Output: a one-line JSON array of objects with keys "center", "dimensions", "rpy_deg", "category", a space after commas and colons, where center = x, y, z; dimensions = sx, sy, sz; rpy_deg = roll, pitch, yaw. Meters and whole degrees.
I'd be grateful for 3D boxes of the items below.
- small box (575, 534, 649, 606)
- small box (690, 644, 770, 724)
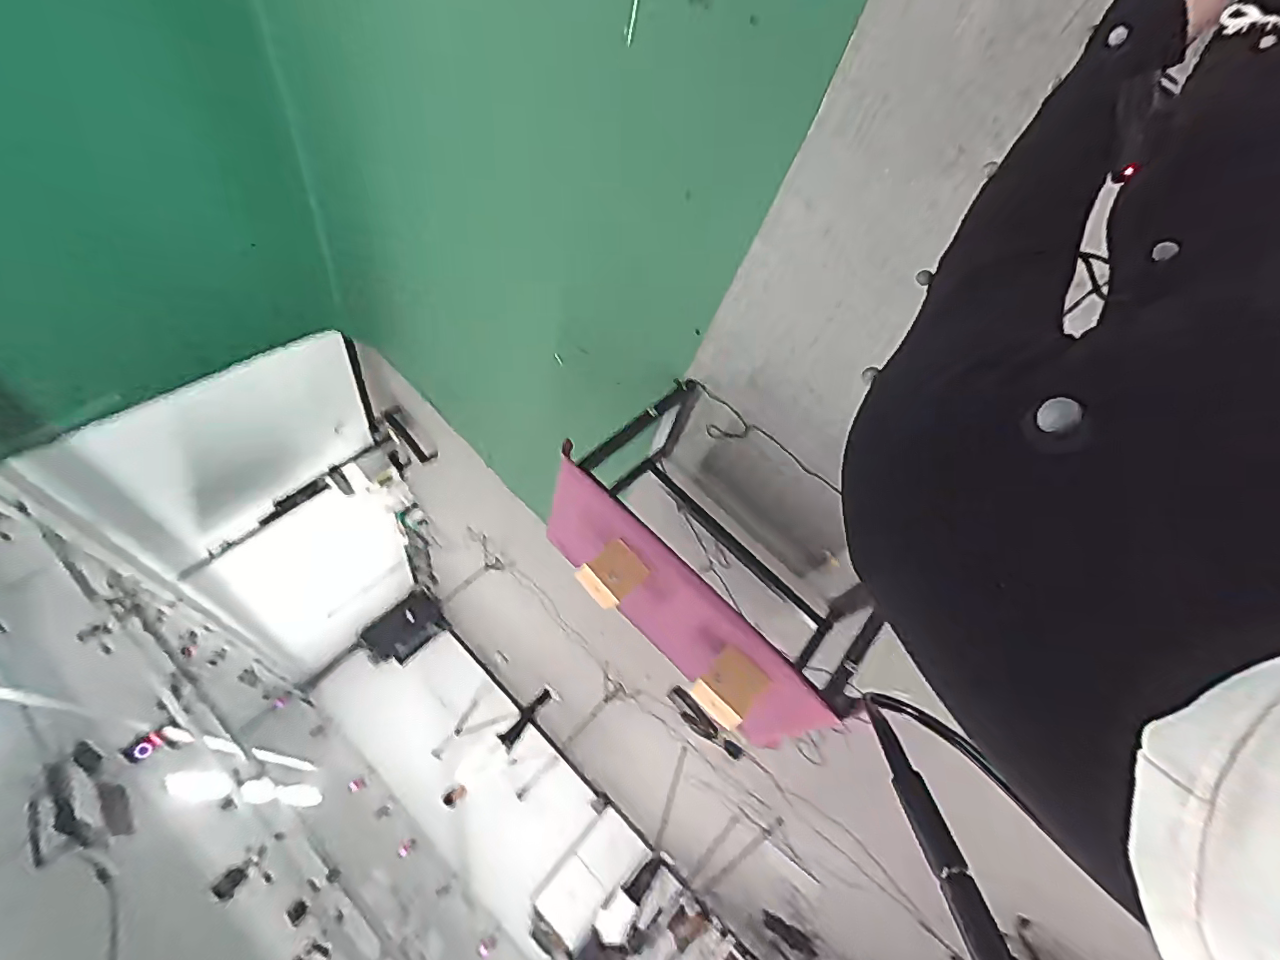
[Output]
[{"center": [-0.097, 0.321, 1.930], "dimensions": [0.179, 0.176, 0.168], "rpy_deg": [48, 149, 2], "category": "small box"}, {"center": [0.301, 0.675, 1.809], "dimensions": [0.179, 0.176, 0.168], "rpy_deg": [40, 148, 15], "category": "small box"}]
